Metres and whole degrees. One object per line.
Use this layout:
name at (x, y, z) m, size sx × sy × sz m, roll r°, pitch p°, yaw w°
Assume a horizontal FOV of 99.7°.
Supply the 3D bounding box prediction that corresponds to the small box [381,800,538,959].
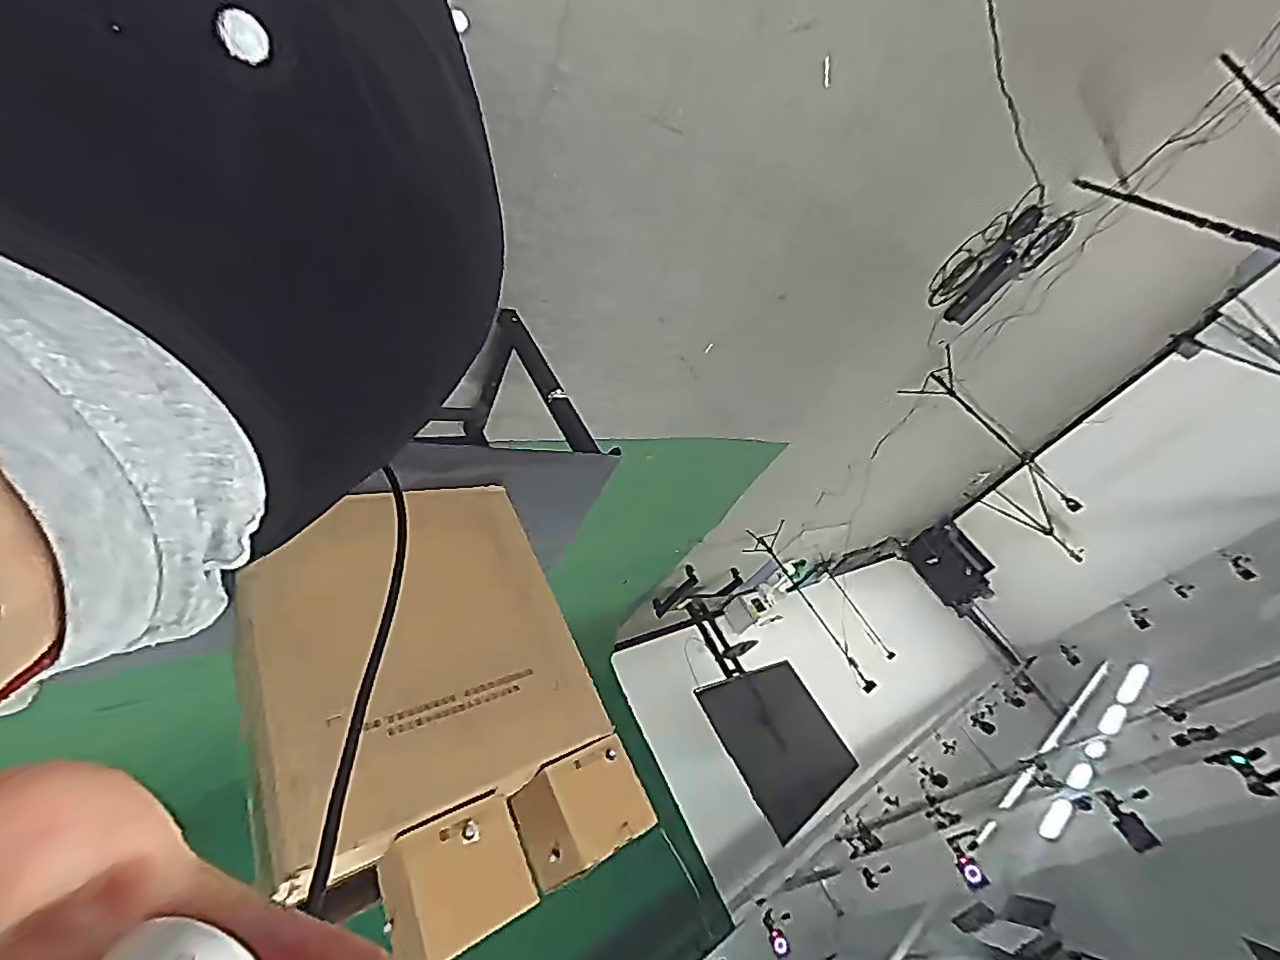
small box at (-0.286, 0.631, 0.835) m, size 0.168 × 0.176 × 0.179 m, roll -5°, pitch 141°, yaw -41°

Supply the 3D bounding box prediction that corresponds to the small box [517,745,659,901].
small box at (-0.103, 0.615, 0.990) m, size 0.168 × 0.176 × 0.179 m, roll -4°, pitch 141°, yaw -43°
